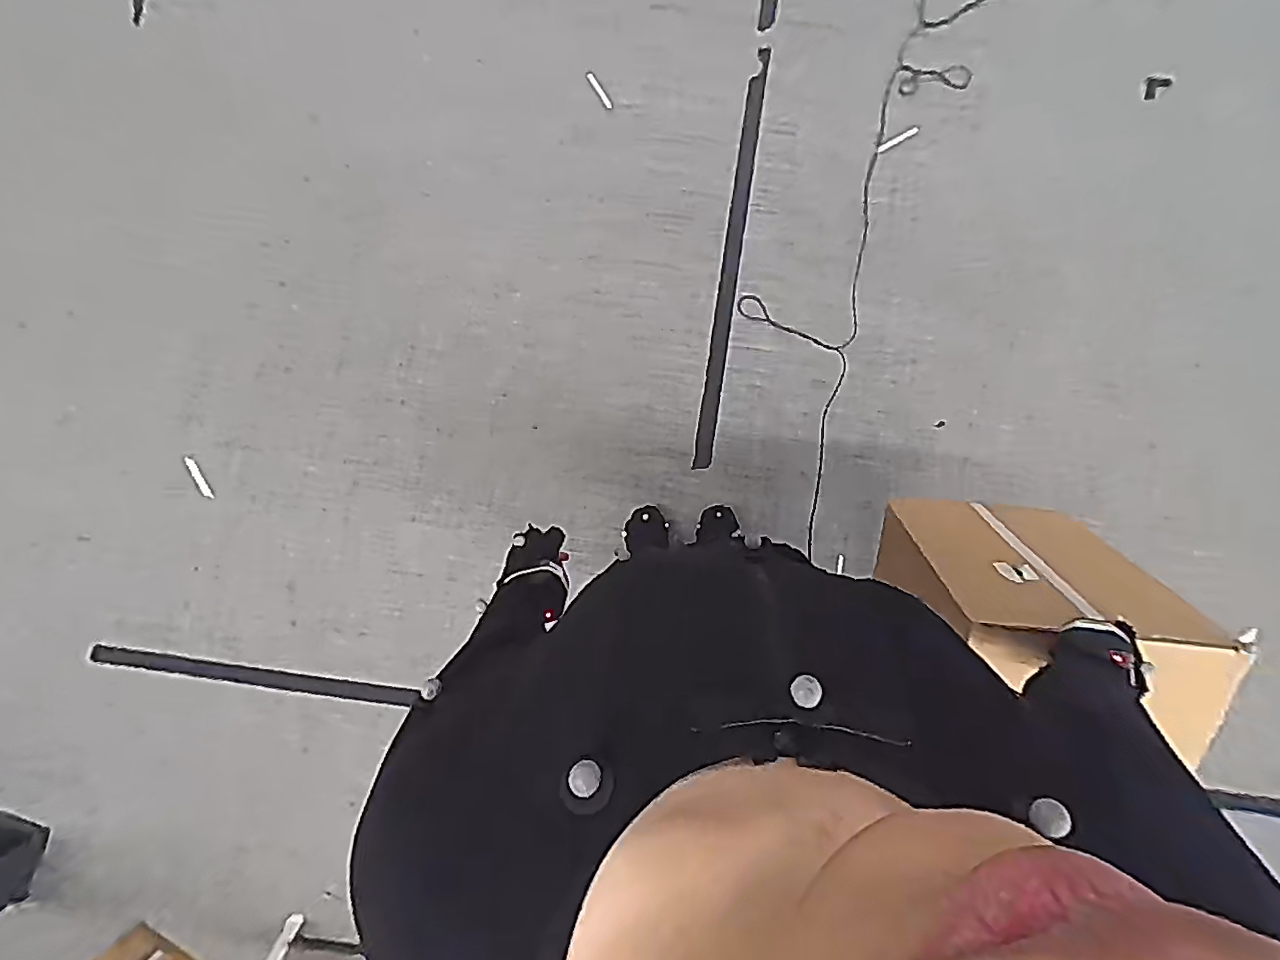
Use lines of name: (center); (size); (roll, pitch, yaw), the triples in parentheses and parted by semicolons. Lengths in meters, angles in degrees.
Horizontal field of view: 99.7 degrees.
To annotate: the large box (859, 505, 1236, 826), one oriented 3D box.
large box: (0.597, 0.272, 0.910); (0.320, 0.408, 0.320); (4, 112, 7)
